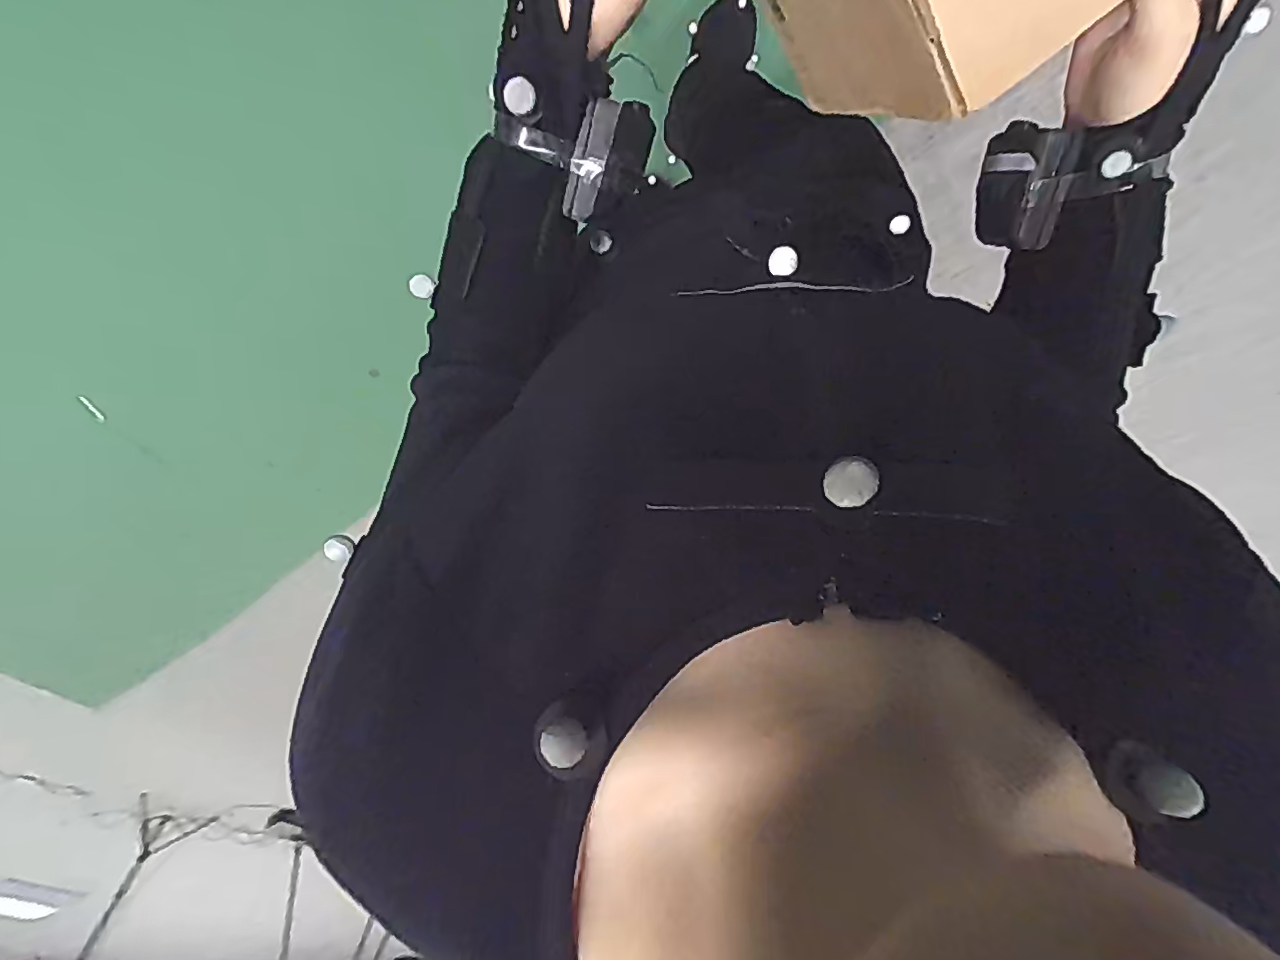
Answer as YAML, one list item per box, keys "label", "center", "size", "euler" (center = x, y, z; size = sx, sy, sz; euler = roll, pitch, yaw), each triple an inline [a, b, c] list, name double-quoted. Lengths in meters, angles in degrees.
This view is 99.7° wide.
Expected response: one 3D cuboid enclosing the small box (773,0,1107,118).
- label: "small box"
  center: [0.133, -0.280, 0.210]
  size: [0.179, 0.176, 0.168]
  euler: [-34, 121, 20]
